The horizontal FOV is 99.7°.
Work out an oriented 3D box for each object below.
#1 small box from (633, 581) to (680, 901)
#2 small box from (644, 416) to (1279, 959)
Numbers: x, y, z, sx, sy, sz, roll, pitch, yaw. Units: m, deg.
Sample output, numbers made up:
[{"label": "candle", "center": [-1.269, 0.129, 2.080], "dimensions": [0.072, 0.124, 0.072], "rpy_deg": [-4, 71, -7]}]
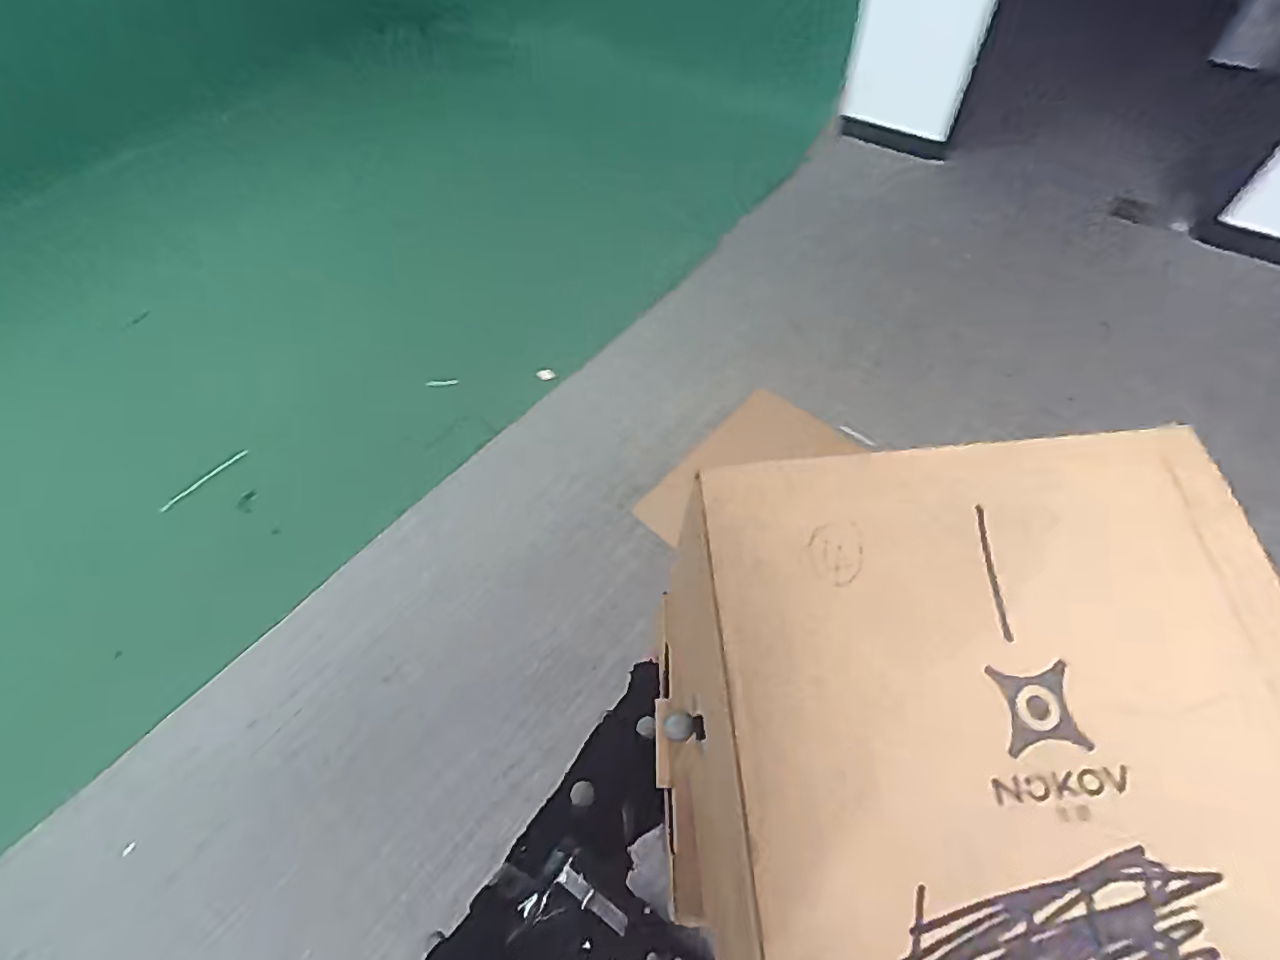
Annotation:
[{"label": "small box", "center": [0.088, 0.165, 0.375], "dimensions": [0.179, 0.176, 0.168], "rpy_deg": [-3, 66, -2]}, {"label": "small box", "center": [0.092, 0.095, 0.224], "dimensions": [0.168, 0.176, 0.179], "rpy_deg": [-5, 68, -2]}]
